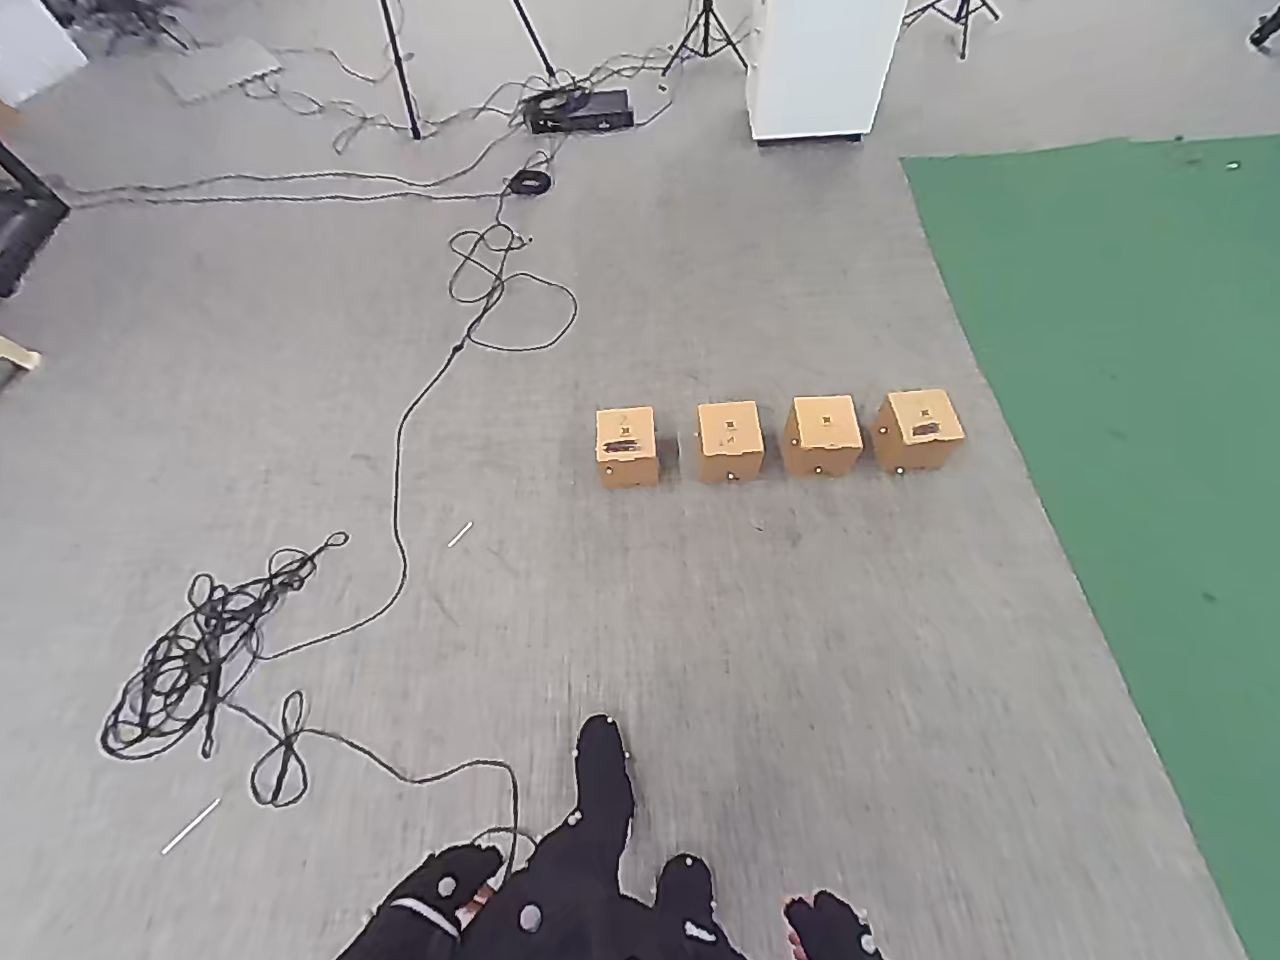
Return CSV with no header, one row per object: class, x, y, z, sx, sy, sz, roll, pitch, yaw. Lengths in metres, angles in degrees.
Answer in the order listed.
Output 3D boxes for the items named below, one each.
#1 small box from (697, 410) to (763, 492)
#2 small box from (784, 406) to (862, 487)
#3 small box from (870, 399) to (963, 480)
small box,0.257,-0.082,1.581,0.168,0.176,0.179,-4,60,2
small box,0.524,-0.095,1.576,0.168,0.176,0.179,-2,60,2
small box,0.793,-0.109,1.568,0.168,0.176,0.179,-4,59,1
